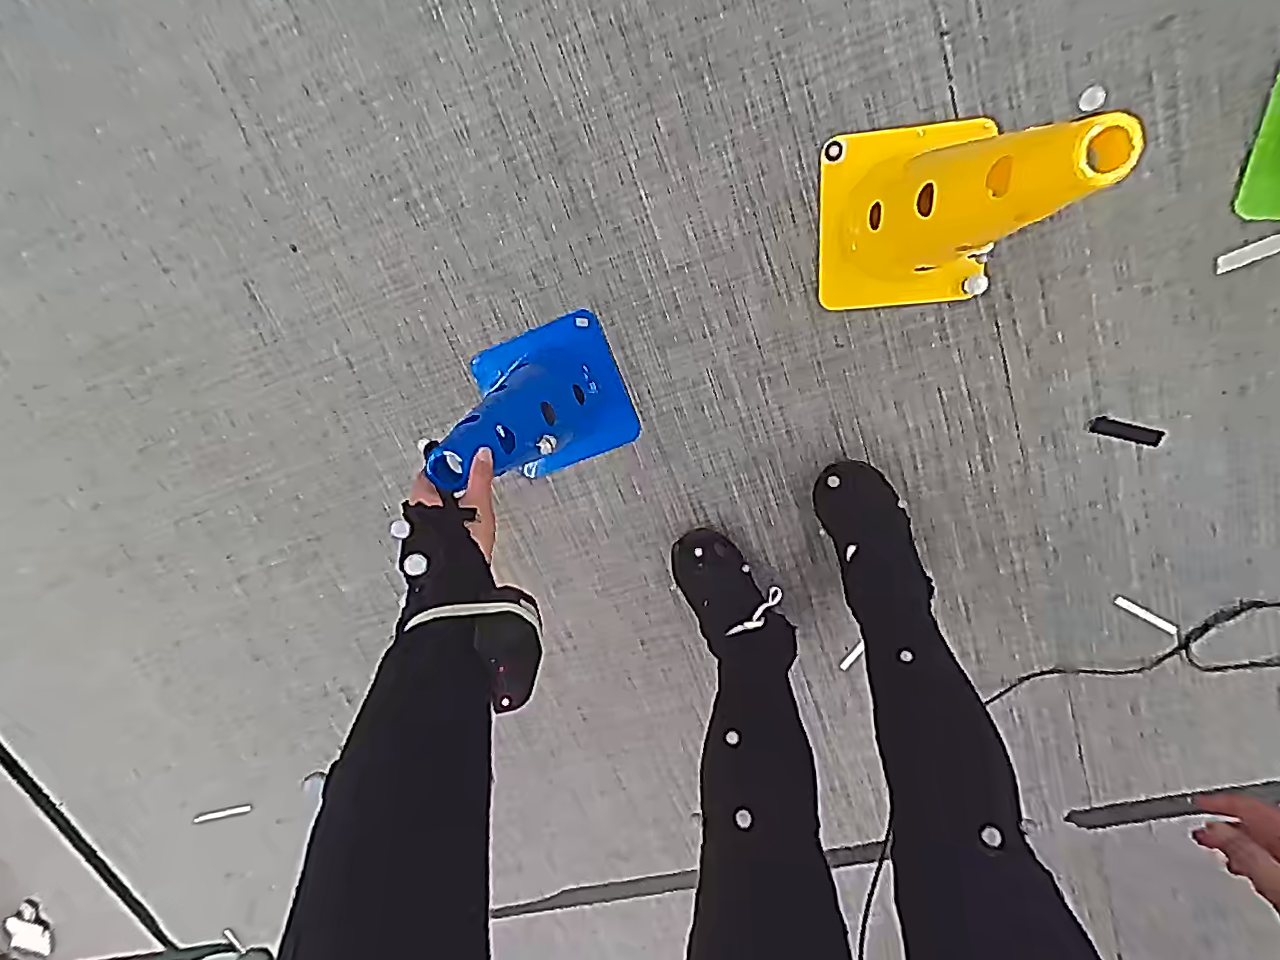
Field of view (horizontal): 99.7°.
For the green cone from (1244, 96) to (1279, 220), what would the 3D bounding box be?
[{"bbox_3d":[0.766,-0.333,0.418,0.200,0.368,0.202,2,110,6],"label":"green cone"}]
